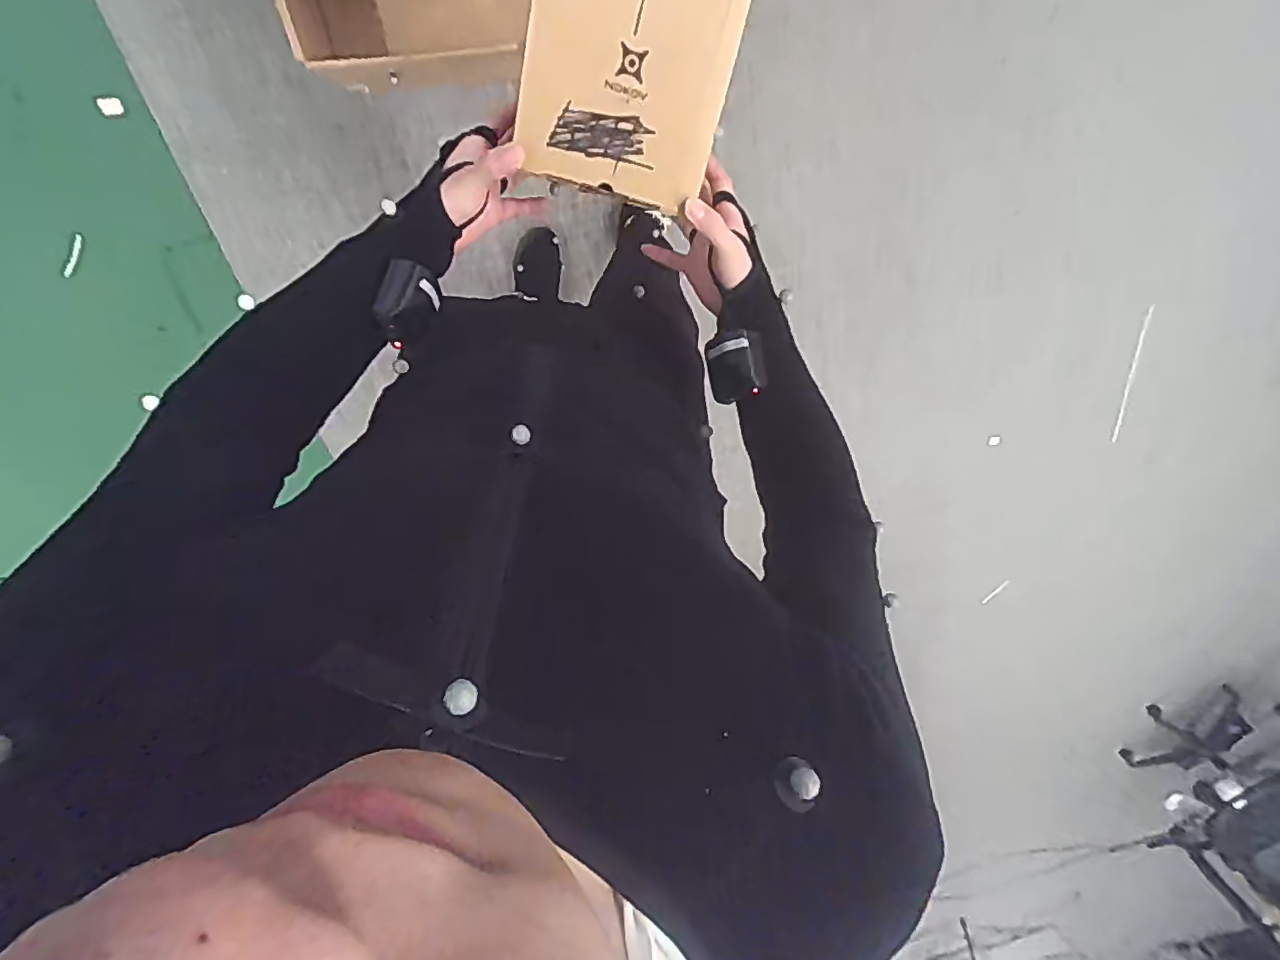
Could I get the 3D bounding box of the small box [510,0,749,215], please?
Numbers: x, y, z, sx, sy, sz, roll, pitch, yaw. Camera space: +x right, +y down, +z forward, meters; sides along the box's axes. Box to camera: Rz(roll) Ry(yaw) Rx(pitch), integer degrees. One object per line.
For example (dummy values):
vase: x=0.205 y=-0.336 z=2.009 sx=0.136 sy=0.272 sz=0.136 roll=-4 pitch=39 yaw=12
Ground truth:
small box: x=-0.017 y=-0.367 z=0.507 sx=0.168 sy=0.176 sz=0.179 roll=11 pitch=116 yaw=-11
